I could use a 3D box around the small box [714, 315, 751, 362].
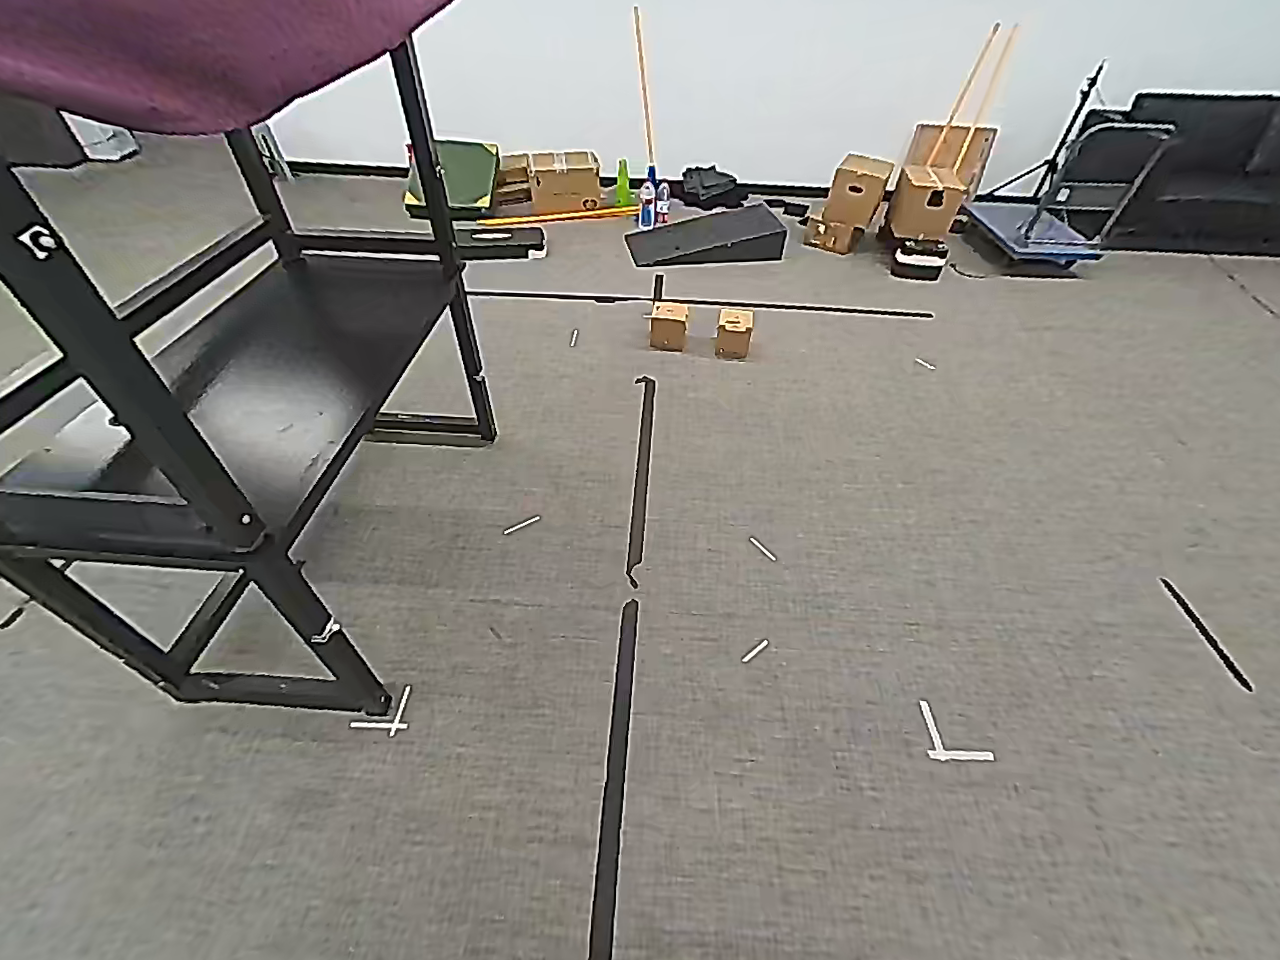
[{"bbox_3d":[0.473,-0.722,2.765,0.168,0.176,0.179,8,44,5],"label":"small box"}]

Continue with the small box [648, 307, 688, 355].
[{"bbox_3d":[0.145,-0.765,2.789,0.179,0.176,0.168,8,45,4],"label":"small box"}]
